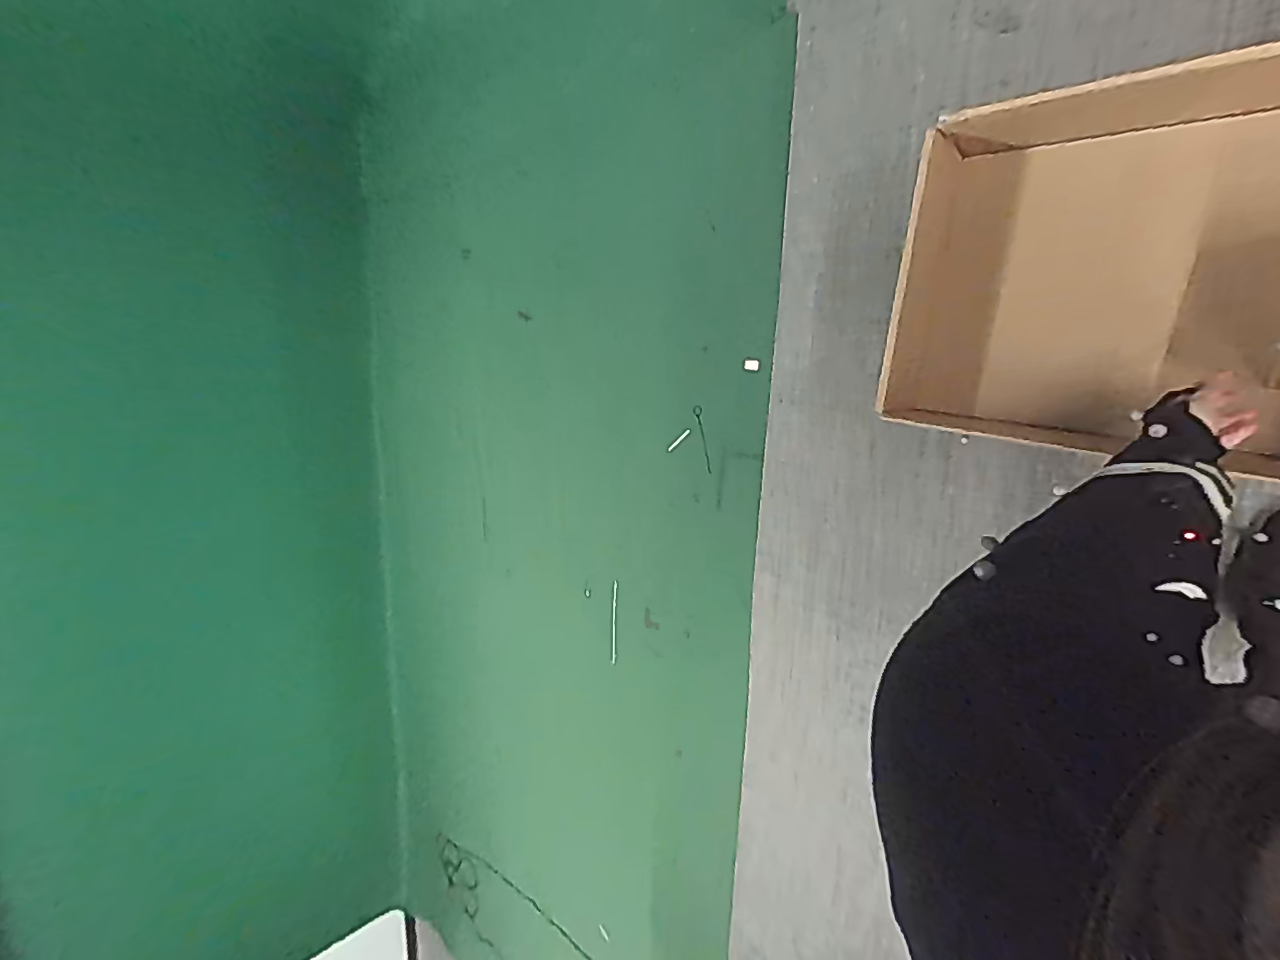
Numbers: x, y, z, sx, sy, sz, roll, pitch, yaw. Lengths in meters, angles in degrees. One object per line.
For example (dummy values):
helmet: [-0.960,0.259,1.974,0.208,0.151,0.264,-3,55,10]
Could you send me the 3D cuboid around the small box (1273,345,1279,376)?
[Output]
small box: [0.717,-0.165,0.479,0.168,0.176,0.179,20,111,42]
